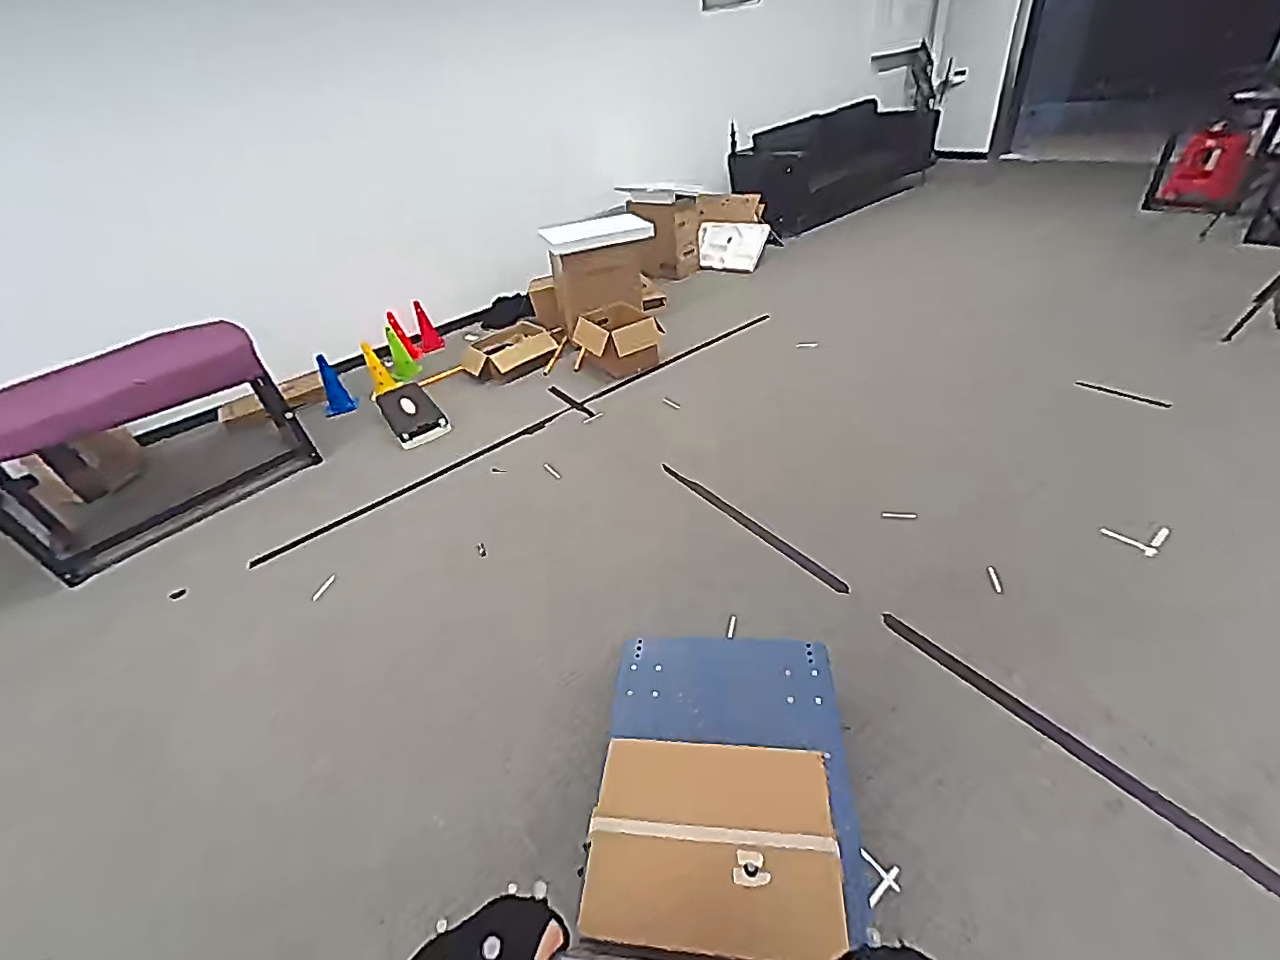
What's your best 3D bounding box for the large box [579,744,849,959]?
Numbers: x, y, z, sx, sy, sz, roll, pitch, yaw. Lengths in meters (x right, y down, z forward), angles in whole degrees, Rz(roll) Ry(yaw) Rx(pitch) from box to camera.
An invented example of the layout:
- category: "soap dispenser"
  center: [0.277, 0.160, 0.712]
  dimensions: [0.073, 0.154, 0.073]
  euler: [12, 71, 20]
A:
- category: "large box"
  center: [0.133, 0.723, 0.994]
  dimensions: [0.408, 0.320, 0.320]
  euler: [-1, 38, 10]
